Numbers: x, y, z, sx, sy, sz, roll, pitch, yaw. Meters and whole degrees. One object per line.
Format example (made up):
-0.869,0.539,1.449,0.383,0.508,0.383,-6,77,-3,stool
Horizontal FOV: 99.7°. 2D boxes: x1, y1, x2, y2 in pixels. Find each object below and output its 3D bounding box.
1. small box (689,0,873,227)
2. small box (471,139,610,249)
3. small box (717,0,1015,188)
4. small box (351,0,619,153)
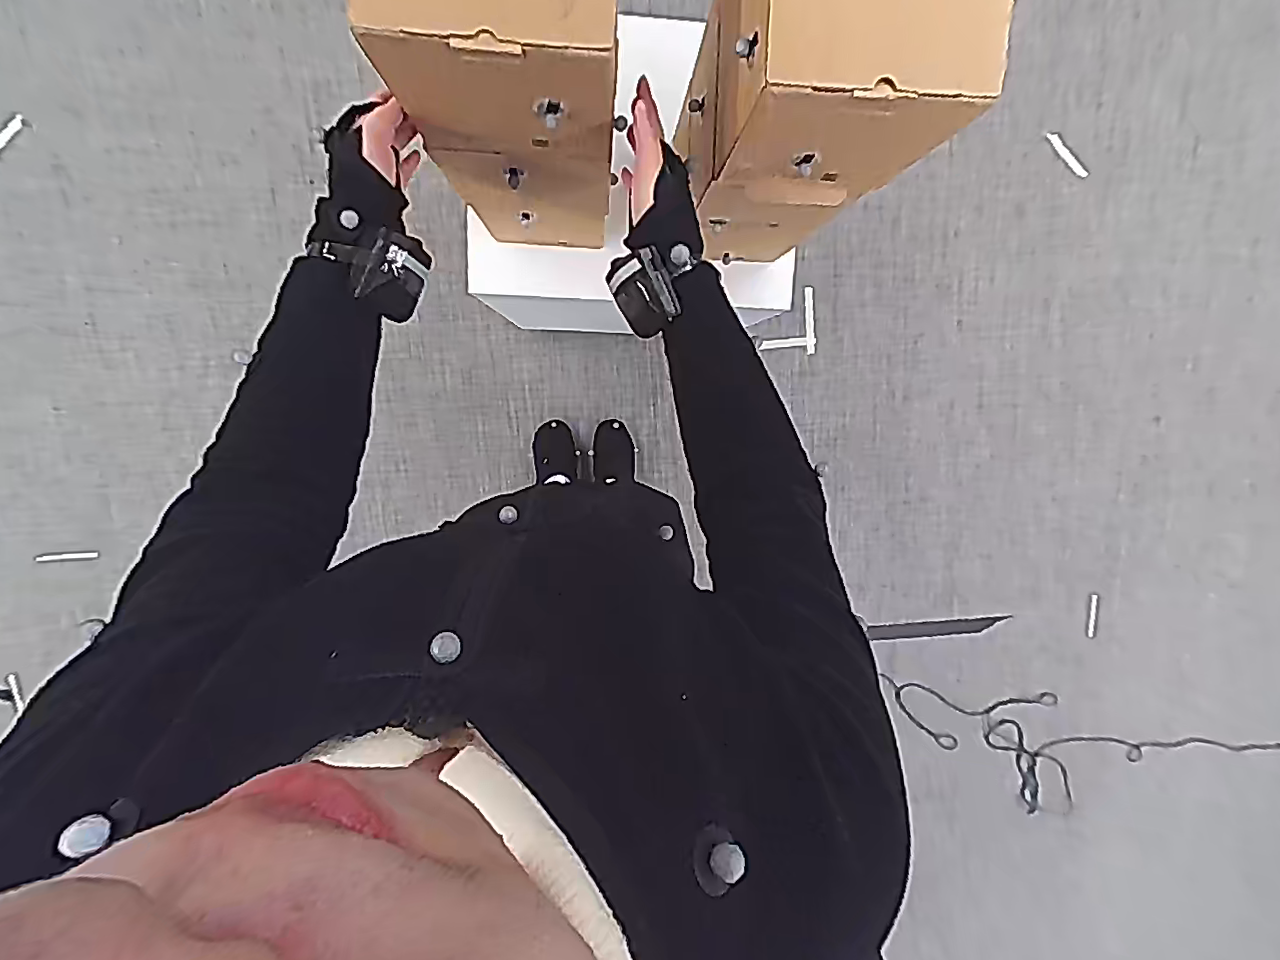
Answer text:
0.147,-0.387,0.584,0.168,0.176,0.179,0,100,-4,small box
-0.125,-0.429,0.724,0.168,0.176,0.179,2,99,-5,small box
0.159,-0.356,0.424,0.168,0.176,0.179,0,101,-4,small box
-0.098,-0.372,0.402,0.168,0.176,0.179,2,100,-6,small box
